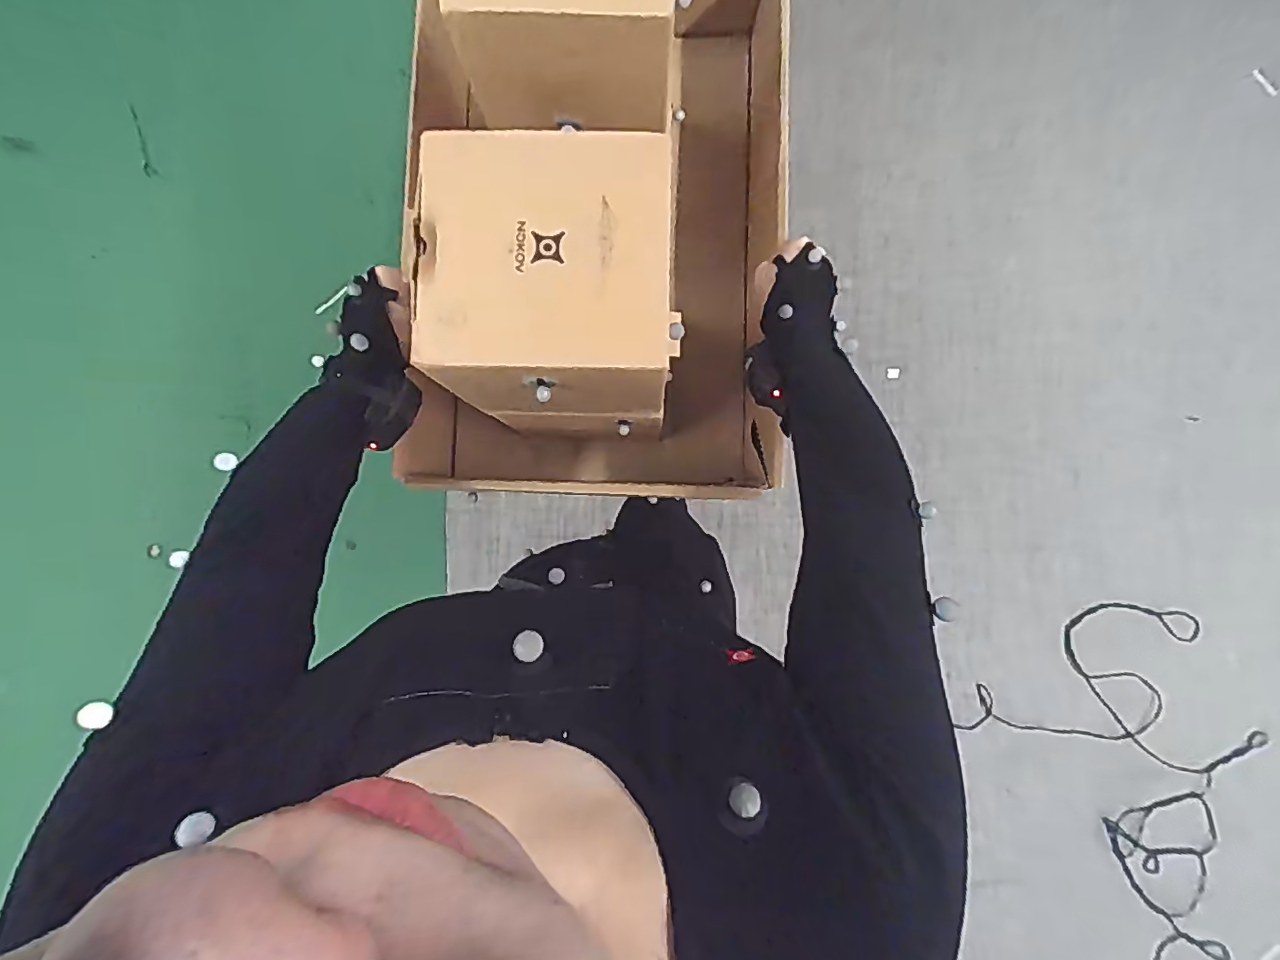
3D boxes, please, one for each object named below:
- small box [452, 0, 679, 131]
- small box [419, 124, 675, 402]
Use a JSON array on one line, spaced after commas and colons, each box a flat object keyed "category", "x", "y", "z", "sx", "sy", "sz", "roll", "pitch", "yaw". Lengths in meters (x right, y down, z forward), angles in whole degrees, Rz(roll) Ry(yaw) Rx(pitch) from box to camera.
[{"category": "small box", "x": -0.051, "y": -0.415, "z": 0.461, "sx": 0.168, "sy": 0.176, "sz": 0.179, "roll": 3, "pitch": 90, "yaw": 0}, {"category": "small box", "x": -0.064, "y": -0.162, "z": 0.455, "sx": 0.179, "sy": 0.176, "sz": 0.168, "roll": 1, "pitch": 88, "yaw": -1}]
